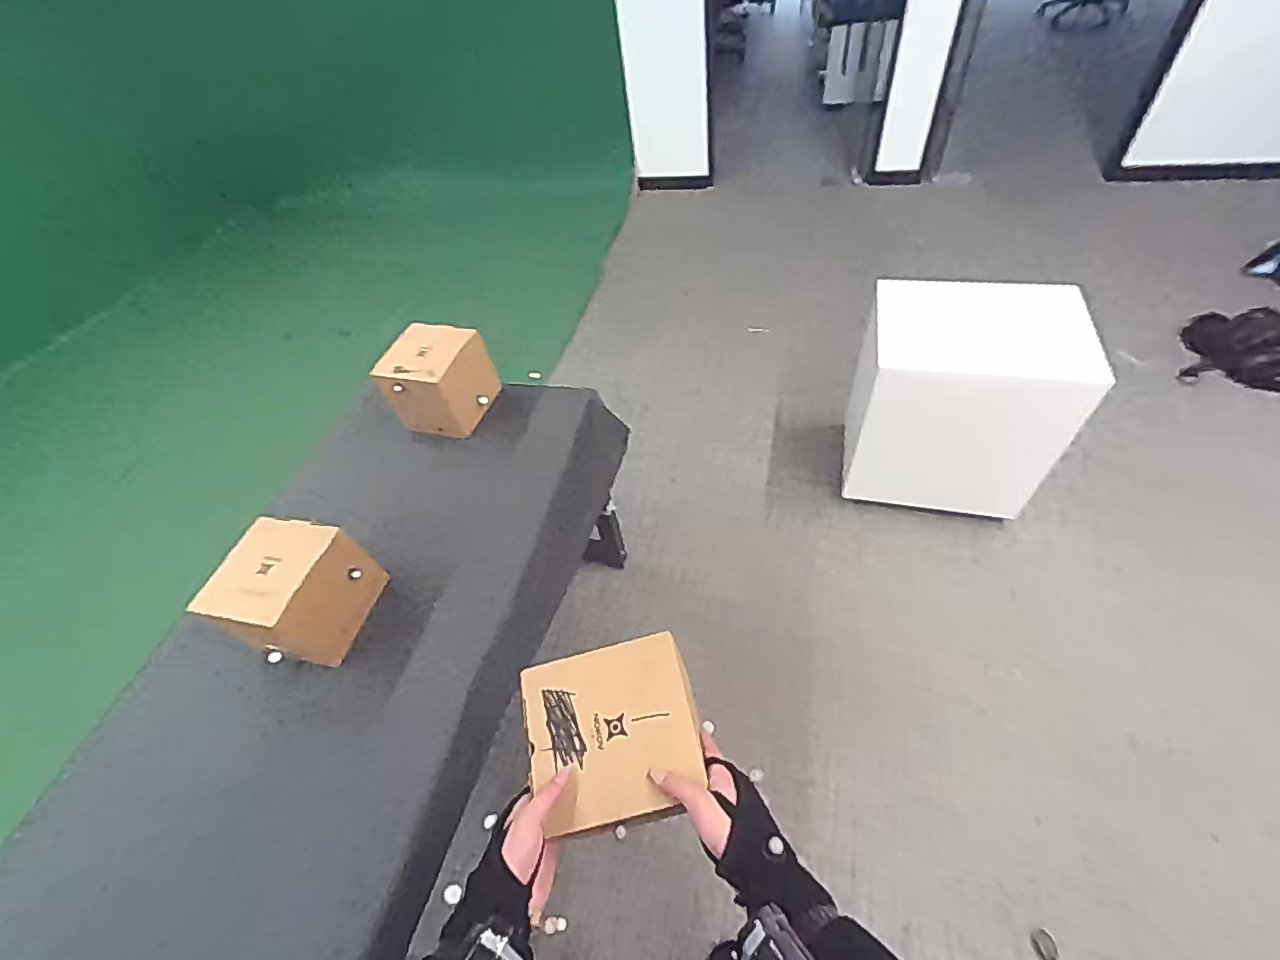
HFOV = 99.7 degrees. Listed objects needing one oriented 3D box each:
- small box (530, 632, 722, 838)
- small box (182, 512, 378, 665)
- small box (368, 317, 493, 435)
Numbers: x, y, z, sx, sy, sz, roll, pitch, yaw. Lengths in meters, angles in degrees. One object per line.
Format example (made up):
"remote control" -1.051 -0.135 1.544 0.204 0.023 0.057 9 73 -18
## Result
"small box" -0.011 0.295 0.614 0.179 0.176 0.168 -14 57 0
"small box" -0.563 0.177 0.881 0.168 0.176 0.179 6 54 13
"small box" -0.443 -0.227 1.181 0.168 0.176 0.179 11 54 15
